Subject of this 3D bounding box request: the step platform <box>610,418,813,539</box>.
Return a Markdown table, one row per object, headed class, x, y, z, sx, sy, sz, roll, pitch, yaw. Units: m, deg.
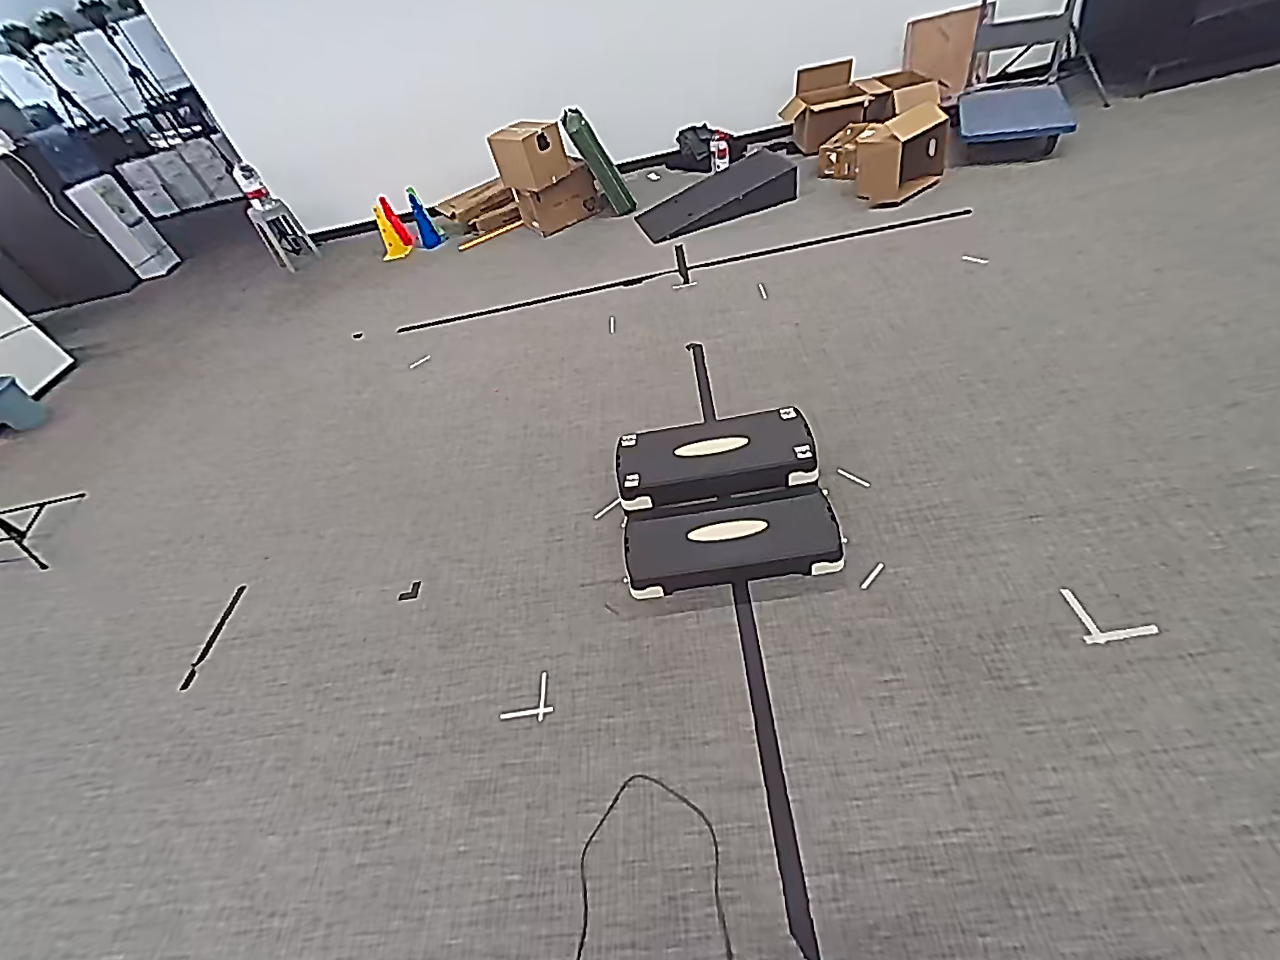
| class | x | y | z | sx | sy | sz | roll | pitch | yaw |
| --- | --- | --- | --- | --- | --- | --- | --- | --- | --- |
| step platform | 0.238 | -0.010 | 1.881 | 0.684 | 0.204 | 0.286 | -10 | 46 | 5 |
